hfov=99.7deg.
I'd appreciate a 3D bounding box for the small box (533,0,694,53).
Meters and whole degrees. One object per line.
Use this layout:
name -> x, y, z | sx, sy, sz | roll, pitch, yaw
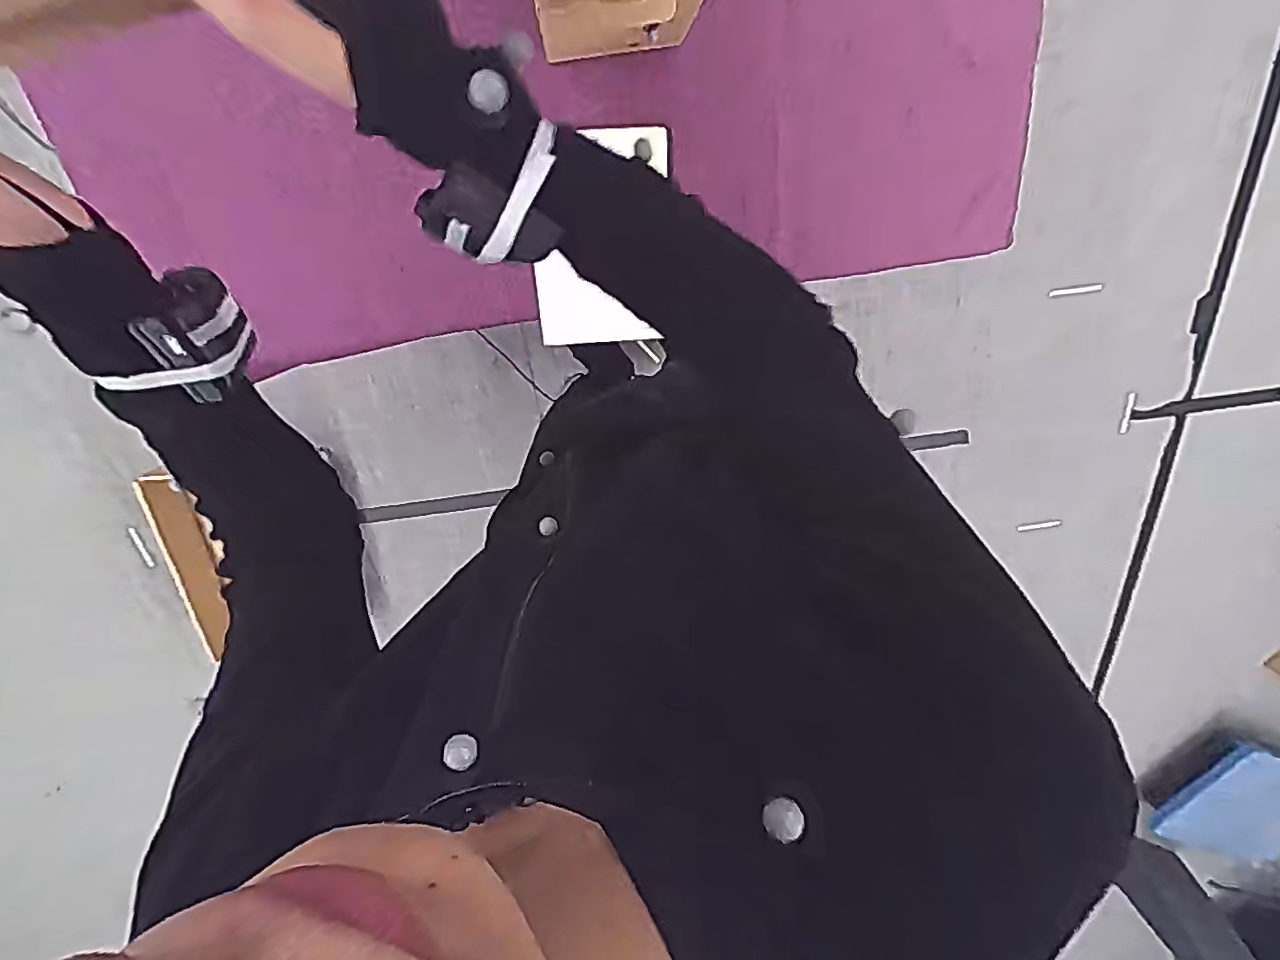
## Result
small box -> -0.033, -0.555, 0.538 | 0.168, 0.176, 0.179 | -9, 115, -2
